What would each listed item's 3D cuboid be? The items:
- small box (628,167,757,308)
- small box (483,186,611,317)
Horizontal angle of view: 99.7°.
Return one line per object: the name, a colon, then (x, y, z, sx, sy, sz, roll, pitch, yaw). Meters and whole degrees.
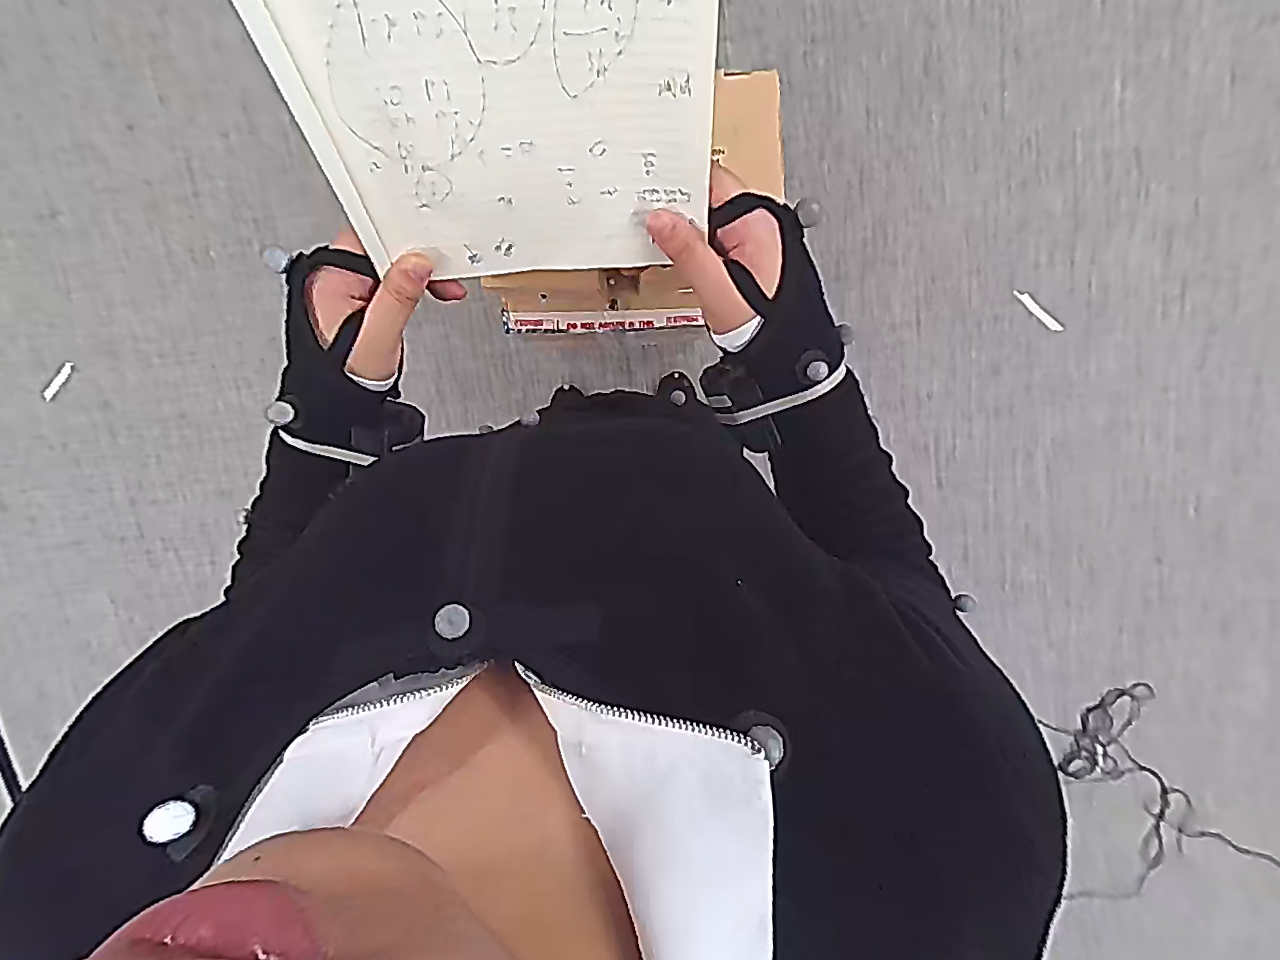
small box: (0.077, -0.376, 0.865, 0.179, 0.176, 0.168, -7, 102, 0)
small box: (-0.139, -0.356, 0.867, 0.179, 0.176, 0.168, 2, 102, 1)
